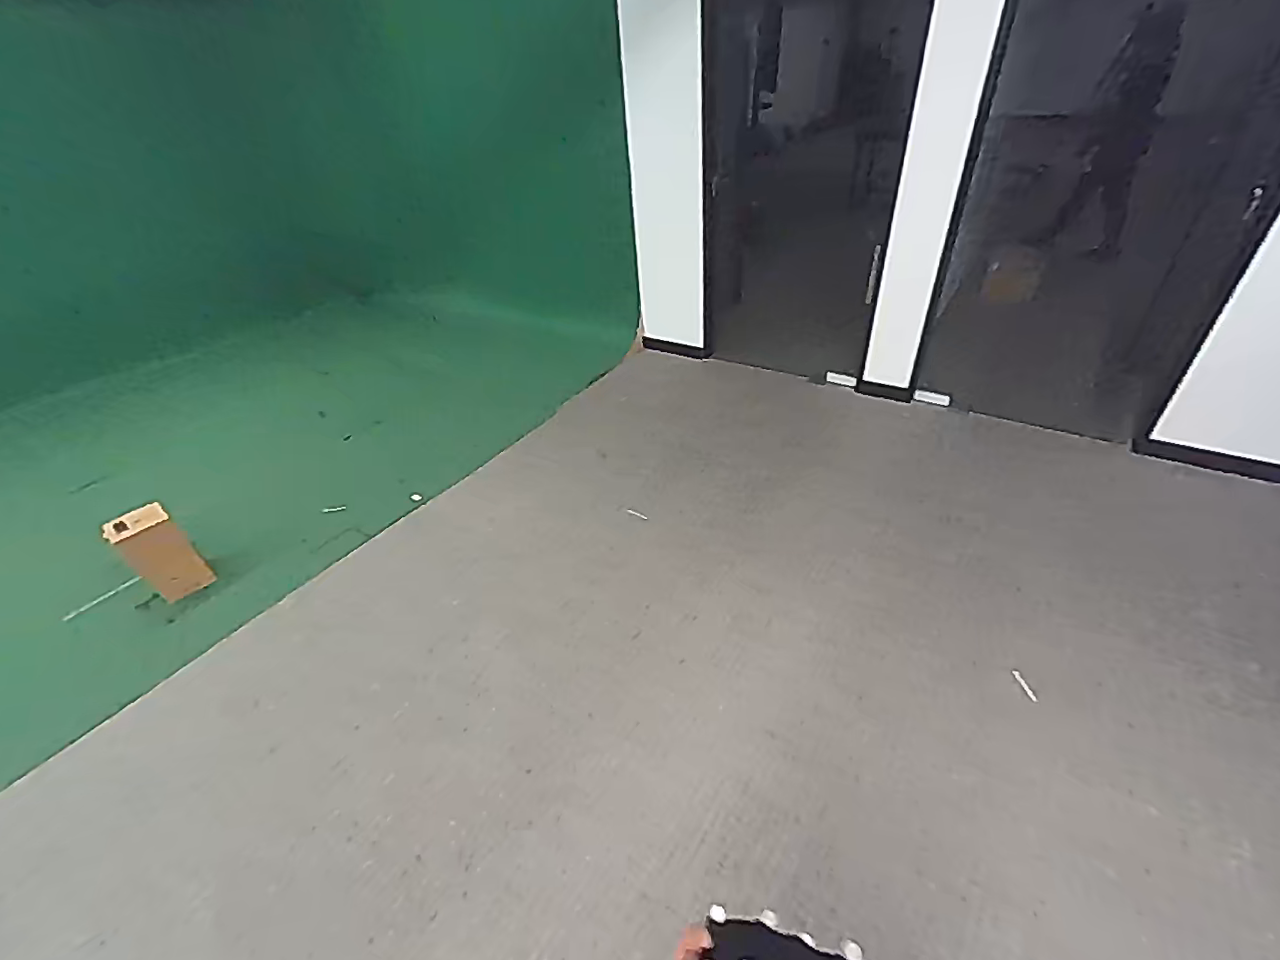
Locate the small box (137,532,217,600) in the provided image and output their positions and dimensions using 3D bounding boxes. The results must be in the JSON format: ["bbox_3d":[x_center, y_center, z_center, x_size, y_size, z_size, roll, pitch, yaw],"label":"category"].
[{"bbox_3d":[-1.797,0.340,2.107,0.179,0.176,0.168,27,47,35],"label":"small box"}]
